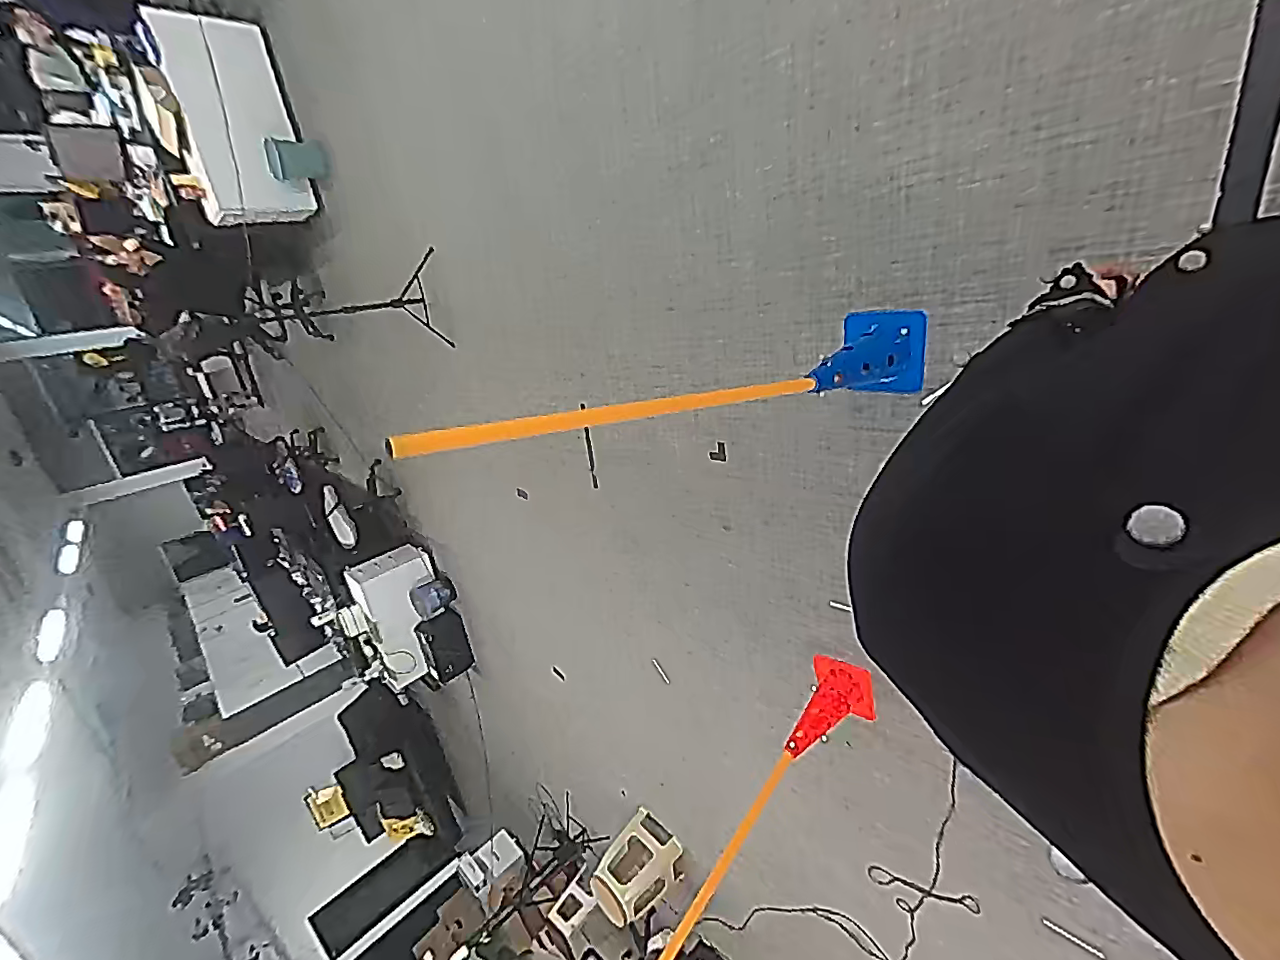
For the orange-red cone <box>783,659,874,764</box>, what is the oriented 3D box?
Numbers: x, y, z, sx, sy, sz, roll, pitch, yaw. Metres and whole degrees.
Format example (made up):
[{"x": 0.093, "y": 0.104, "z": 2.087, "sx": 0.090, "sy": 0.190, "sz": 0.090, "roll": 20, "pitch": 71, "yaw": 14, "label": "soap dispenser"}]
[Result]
[{"x": 0.560, "y": 0.760, "z": 1.699, "sx": 0.199, "sy": 0.360, "sz": 0.198, "roll": 5, "pitch": 114, "yaw": 46, "label": "orange-red cone"}]

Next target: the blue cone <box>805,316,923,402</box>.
[{"x": 0.492, "y": -0.254, "z": 1.250, "sx": 0.193, "sy": 0.380, "sz": 0.192, "roll": 16, "pitch": 122, "yaw": 44, "label": "blue cone"}]
